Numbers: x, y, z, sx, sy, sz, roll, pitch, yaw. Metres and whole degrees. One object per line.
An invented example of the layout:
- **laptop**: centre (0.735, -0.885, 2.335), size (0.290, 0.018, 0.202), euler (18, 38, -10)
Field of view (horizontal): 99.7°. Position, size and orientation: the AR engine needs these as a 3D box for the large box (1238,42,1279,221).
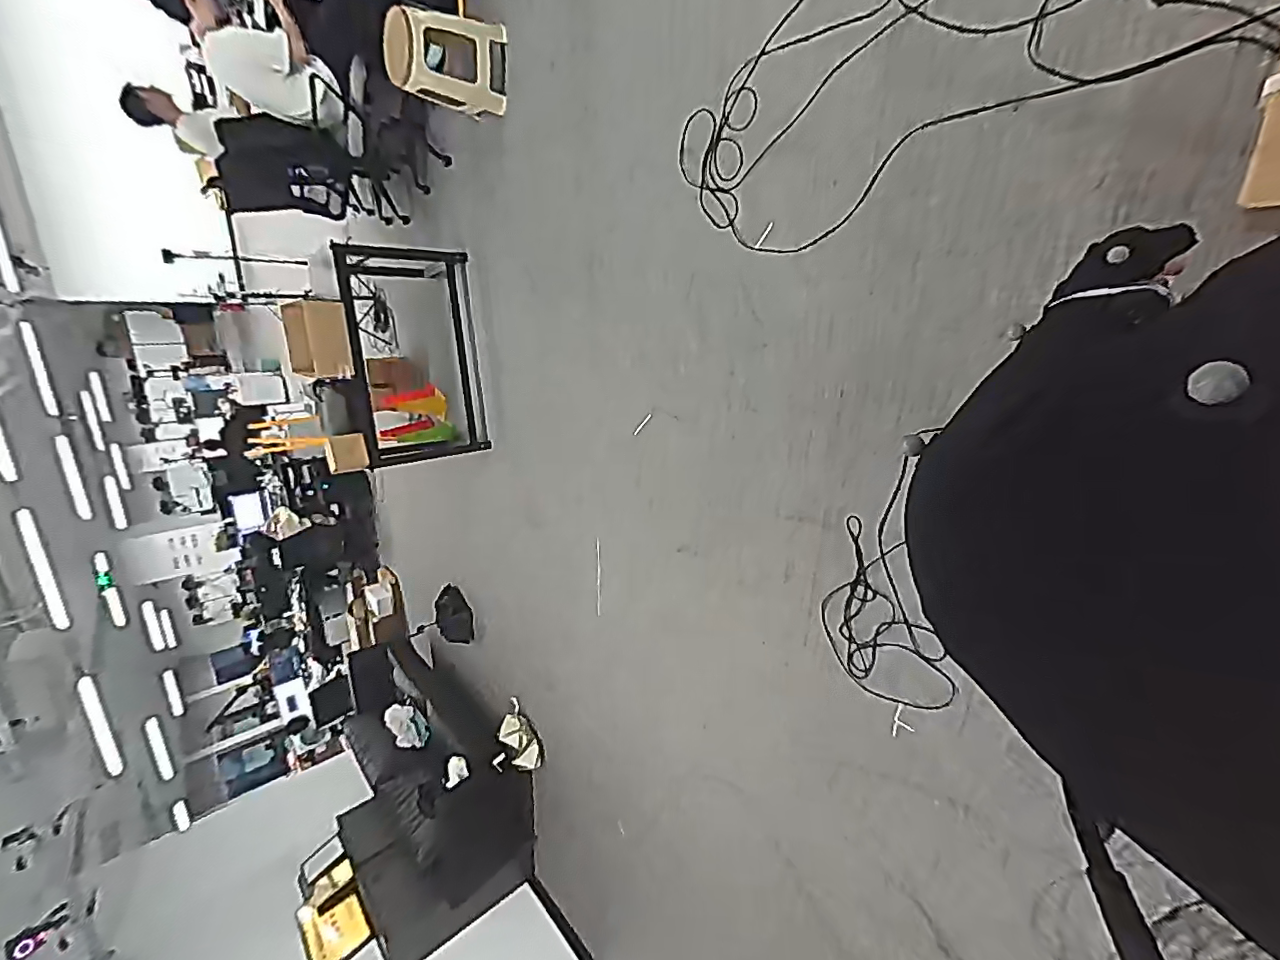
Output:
- **large box**: centre (1.102, -0.541, 0.694), size (0.408, 0.320, 0.320), euler (17, 115, 44)
